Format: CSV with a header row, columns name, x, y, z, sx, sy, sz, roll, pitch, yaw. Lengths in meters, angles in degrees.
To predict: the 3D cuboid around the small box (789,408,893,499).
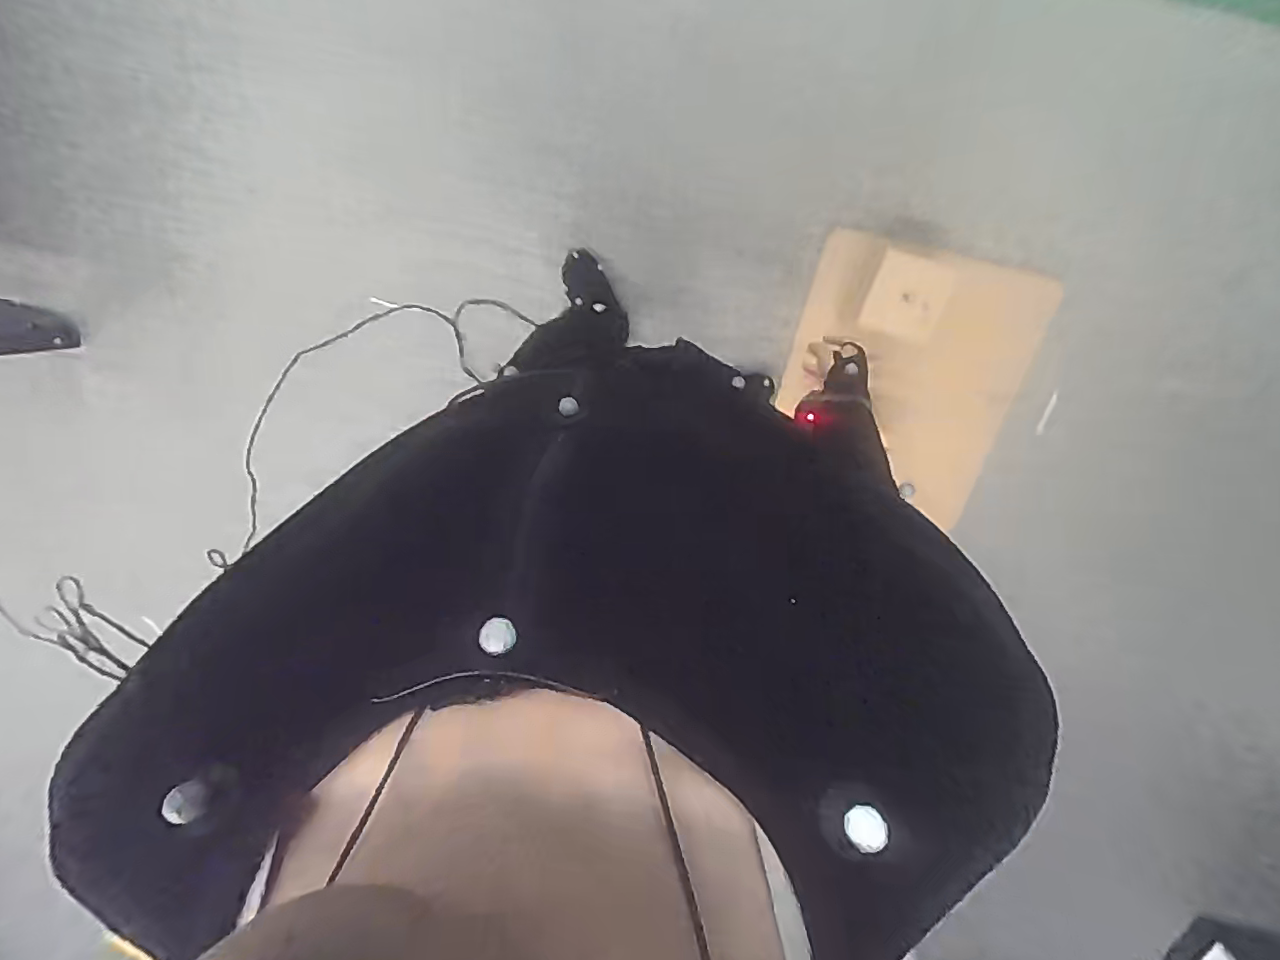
name,x,y,z,sx,sy,sz,roll,pitch,yaw
small box,0.505,-0.075,1.391,0.179,0.176,0.168,17,110,-4
